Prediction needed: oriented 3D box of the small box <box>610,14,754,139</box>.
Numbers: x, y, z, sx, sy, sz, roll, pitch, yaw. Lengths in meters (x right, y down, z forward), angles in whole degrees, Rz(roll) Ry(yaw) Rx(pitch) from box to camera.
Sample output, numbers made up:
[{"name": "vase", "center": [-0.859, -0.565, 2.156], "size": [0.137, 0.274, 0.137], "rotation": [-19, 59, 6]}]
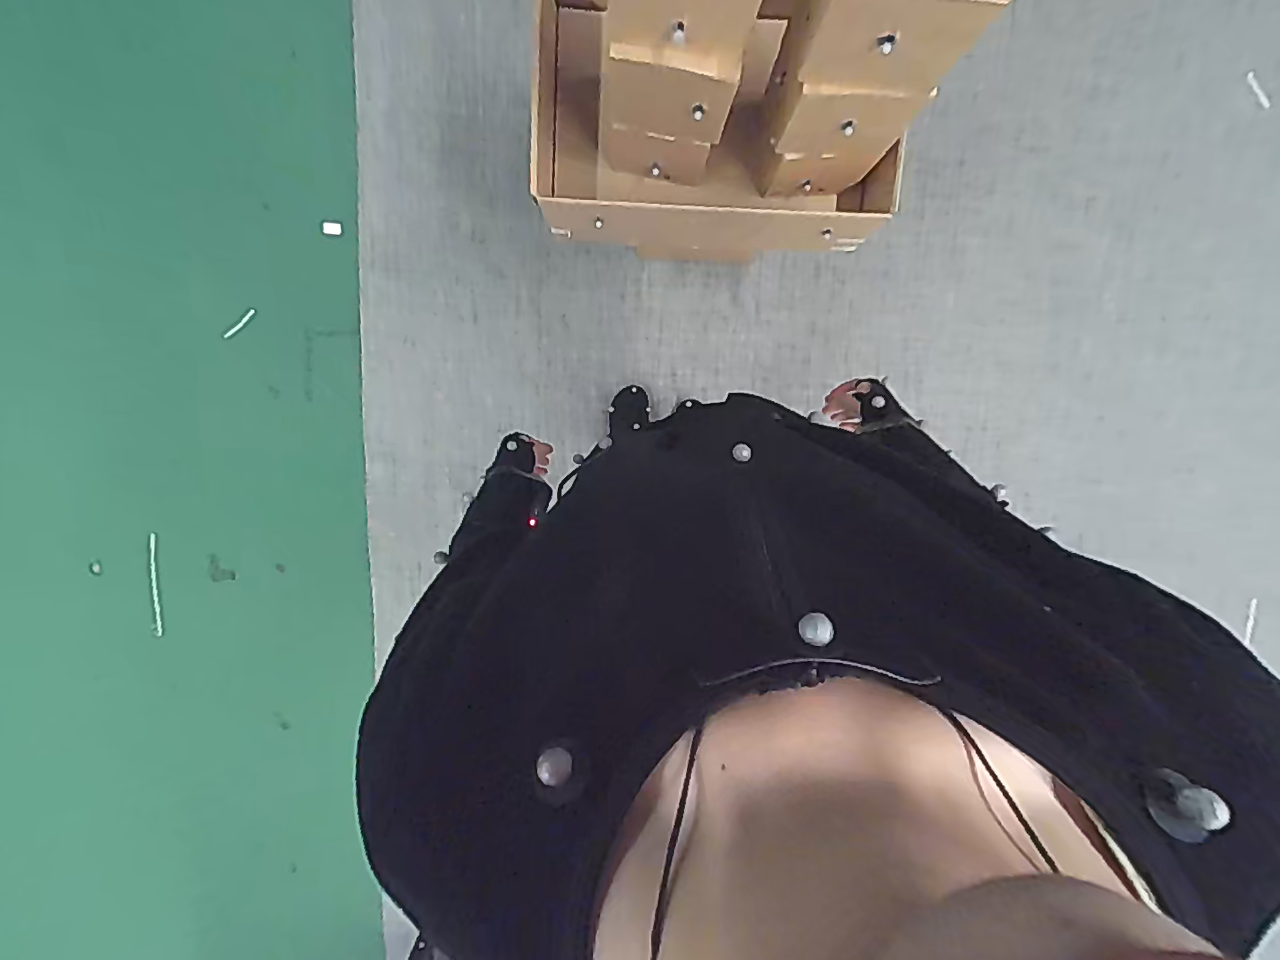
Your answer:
[{"name": "small box", "center": [0.058, -0.619, 0.767], "size": [0.179, 0.176, 0.168], "rotation": [10, 96, -2]}]

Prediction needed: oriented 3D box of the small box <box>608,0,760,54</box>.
[{"name": "small box", "center": [0.059, -0.622, 0.603], "size": [0.179, 0.176, 0.168], "rotation": [6, 96, -4]}]

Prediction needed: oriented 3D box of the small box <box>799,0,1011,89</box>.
[{"name": "small box", "center": [0.293, -0.571, 0.598], "size": [0.179, 0.176, 0.168], "rotation": [7, 98, 2]}]
